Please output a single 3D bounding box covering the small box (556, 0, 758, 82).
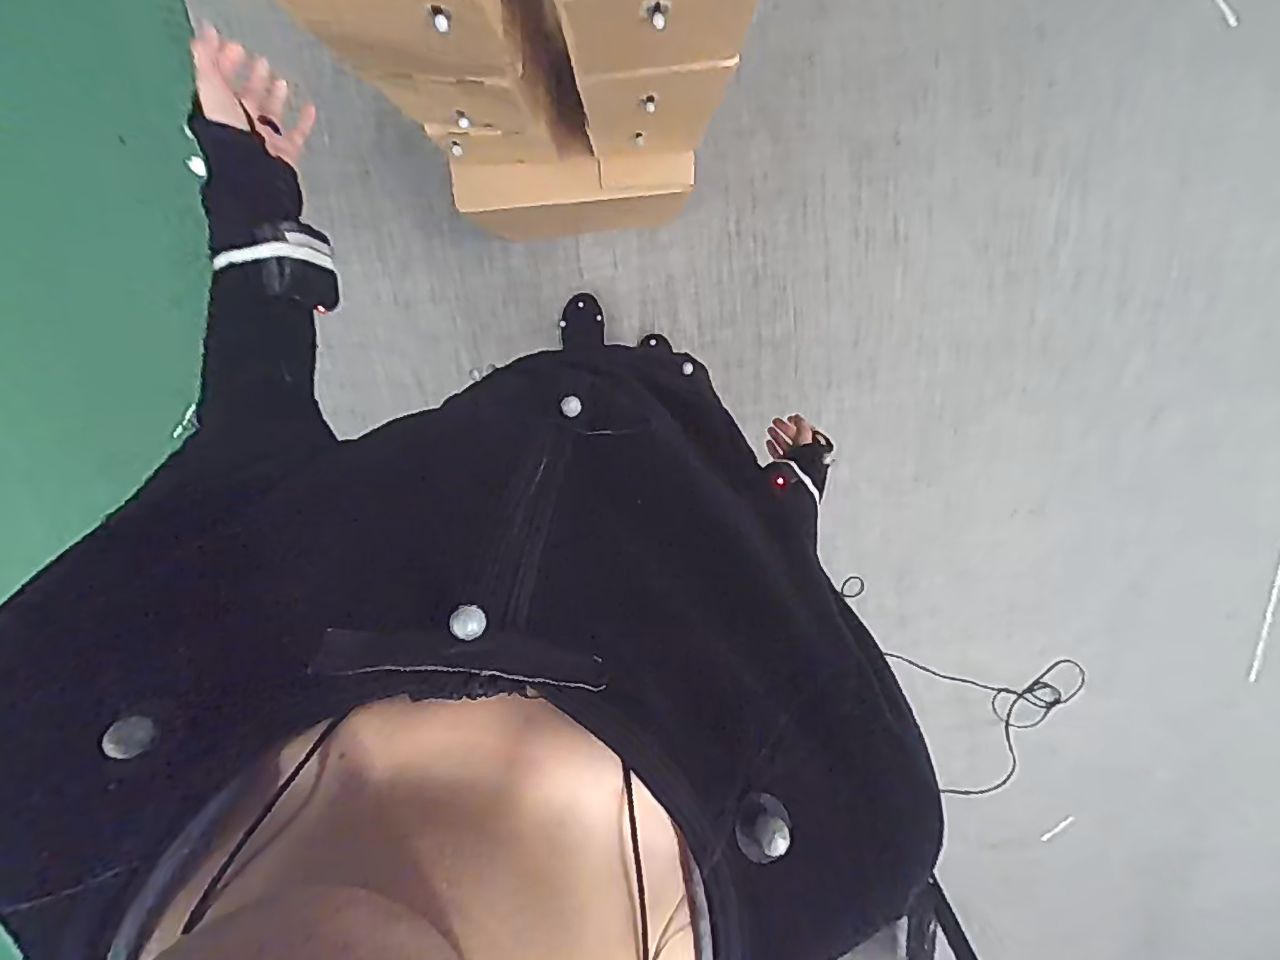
[{"bbox_3d":[0.013,-0.480,0.474,0.179,0.176,0.168,-6,108,2],"label":"small box"}]

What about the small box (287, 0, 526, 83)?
[{"bbox_3d":[-0.206,-0.479,0.477,0.179,0.176,0.168,1,108,-1],"label":"small box"}]
